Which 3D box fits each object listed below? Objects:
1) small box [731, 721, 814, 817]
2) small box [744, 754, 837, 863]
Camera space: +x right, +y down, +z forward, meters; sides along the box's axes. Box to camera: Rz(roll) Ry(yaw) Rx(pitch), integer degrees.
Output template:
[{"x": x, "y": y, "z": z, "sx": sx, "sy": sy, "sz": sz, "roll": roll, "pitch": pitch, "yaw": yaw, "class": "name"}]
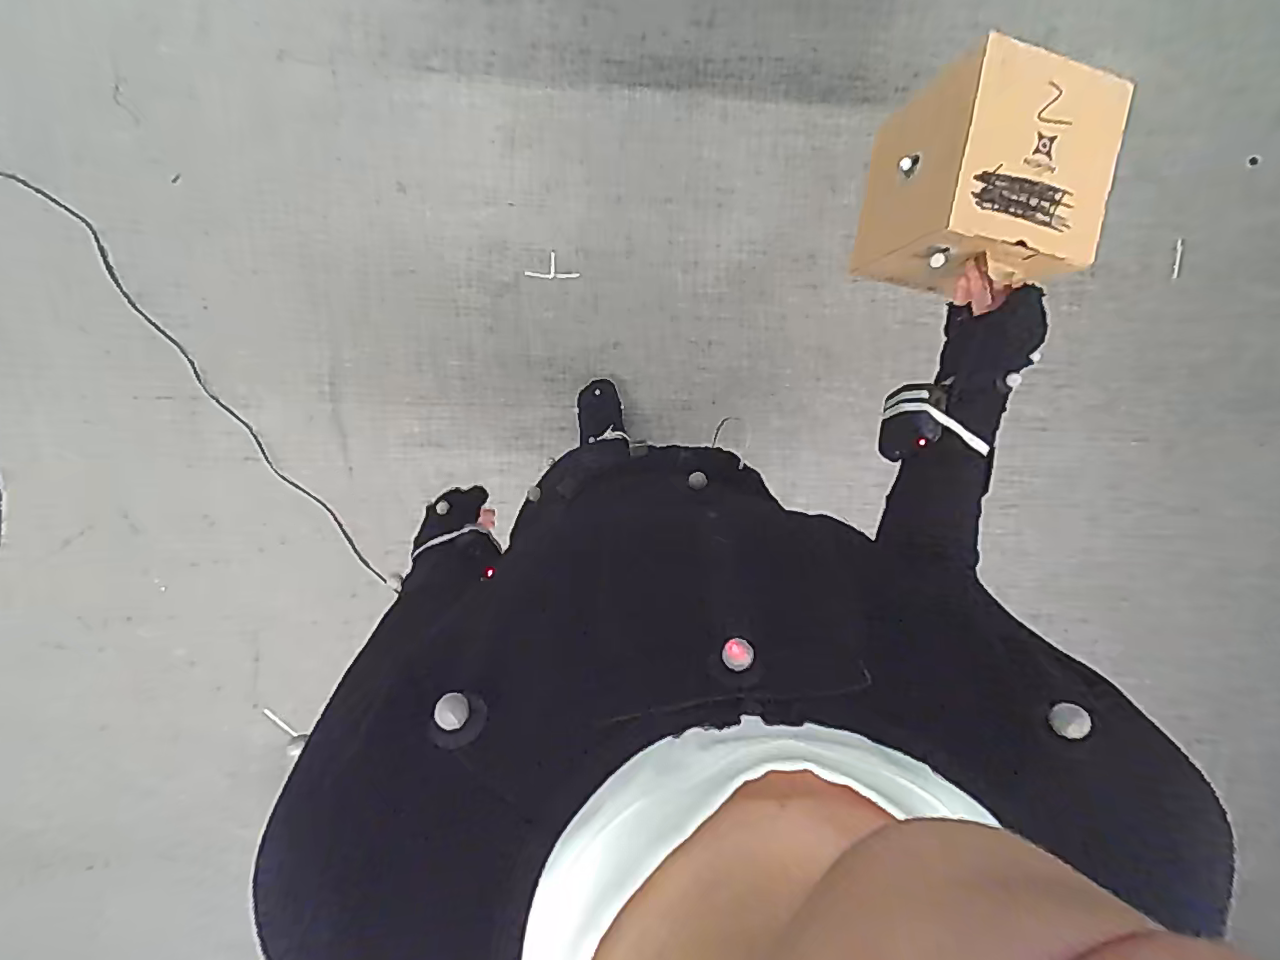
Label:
[{"x": 0.356, "y": 0.796, "z": 1.489, "sx": 0.168, "sy": 0.176, "sz": 0.179, "roll": 7, "pitch": 96, "yaw": -6, "class": "small box"}, {"x": 0.365, "y": 0.807, "z": 1.341, "sx": 0.168, "sy": 0.176, "sz": 0.179, "roll": 5, "pitch": 97, "yaw": -6, "class": "small box"}]
